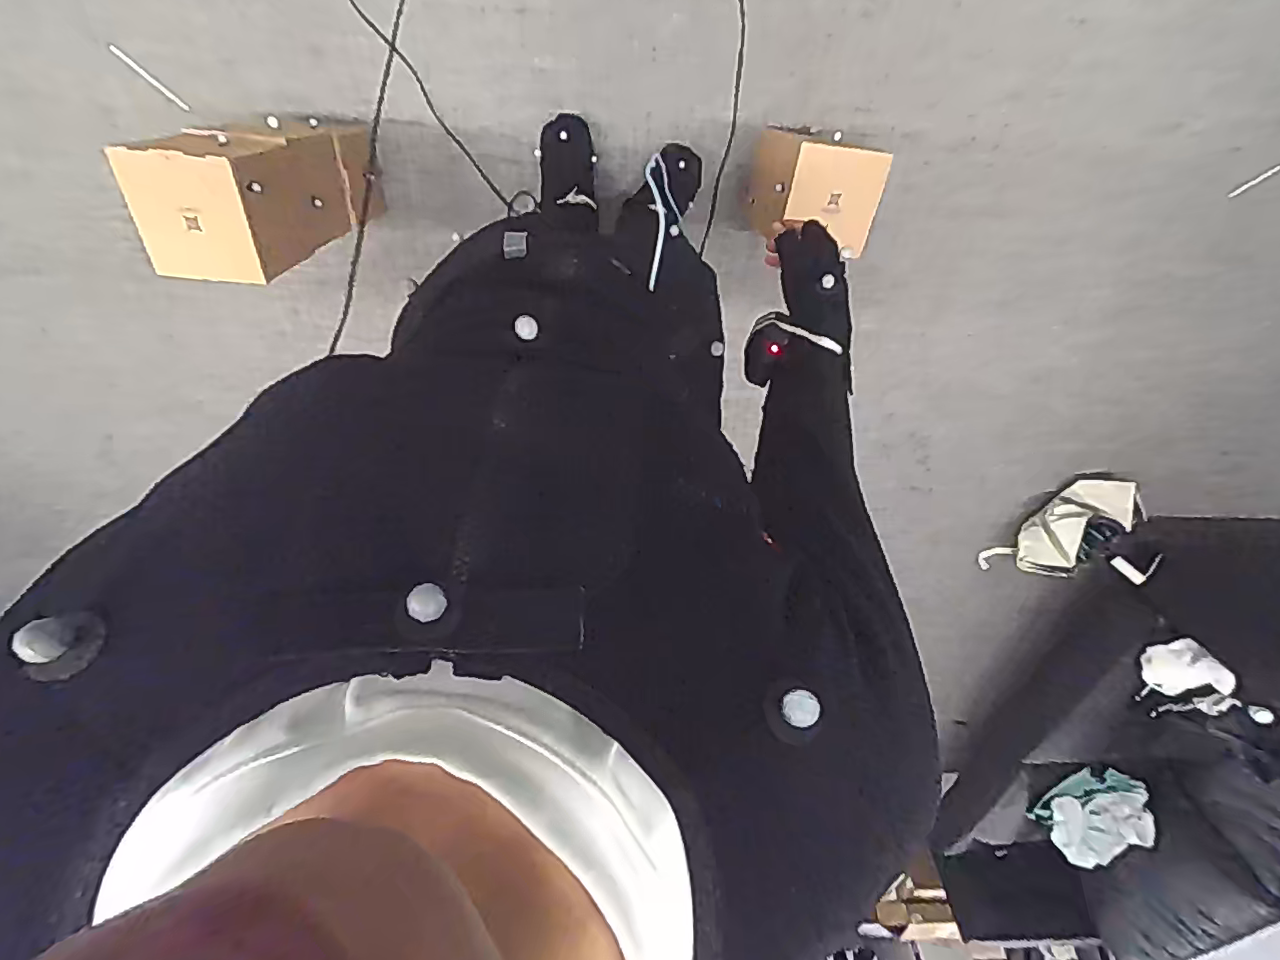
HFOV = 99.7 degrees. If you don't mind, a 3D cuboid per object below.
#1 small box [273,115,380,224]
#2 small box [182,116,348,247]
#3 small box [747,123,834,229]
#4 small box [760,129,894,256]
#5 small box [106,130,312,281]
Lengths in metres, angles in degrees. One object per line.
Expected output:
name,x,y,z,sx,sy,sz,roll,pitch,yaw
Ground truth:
small box,-0.653,-0.639,1.107,0.179,0.176,0.168,3,127,-4
small box,-0.656,-0.540,0.975,0.168,0.176,0.179,4,126,-4
small box,0.333,-0.630,1.137,0.168,0.176,0.179,6,127,-7
small box,0.336,-0.544,1.017,0.168,0.176,0.179,4,128,-6
small box,-0.653,-0.434,0.852,0.168,0.176,0.179,4,127,-4
